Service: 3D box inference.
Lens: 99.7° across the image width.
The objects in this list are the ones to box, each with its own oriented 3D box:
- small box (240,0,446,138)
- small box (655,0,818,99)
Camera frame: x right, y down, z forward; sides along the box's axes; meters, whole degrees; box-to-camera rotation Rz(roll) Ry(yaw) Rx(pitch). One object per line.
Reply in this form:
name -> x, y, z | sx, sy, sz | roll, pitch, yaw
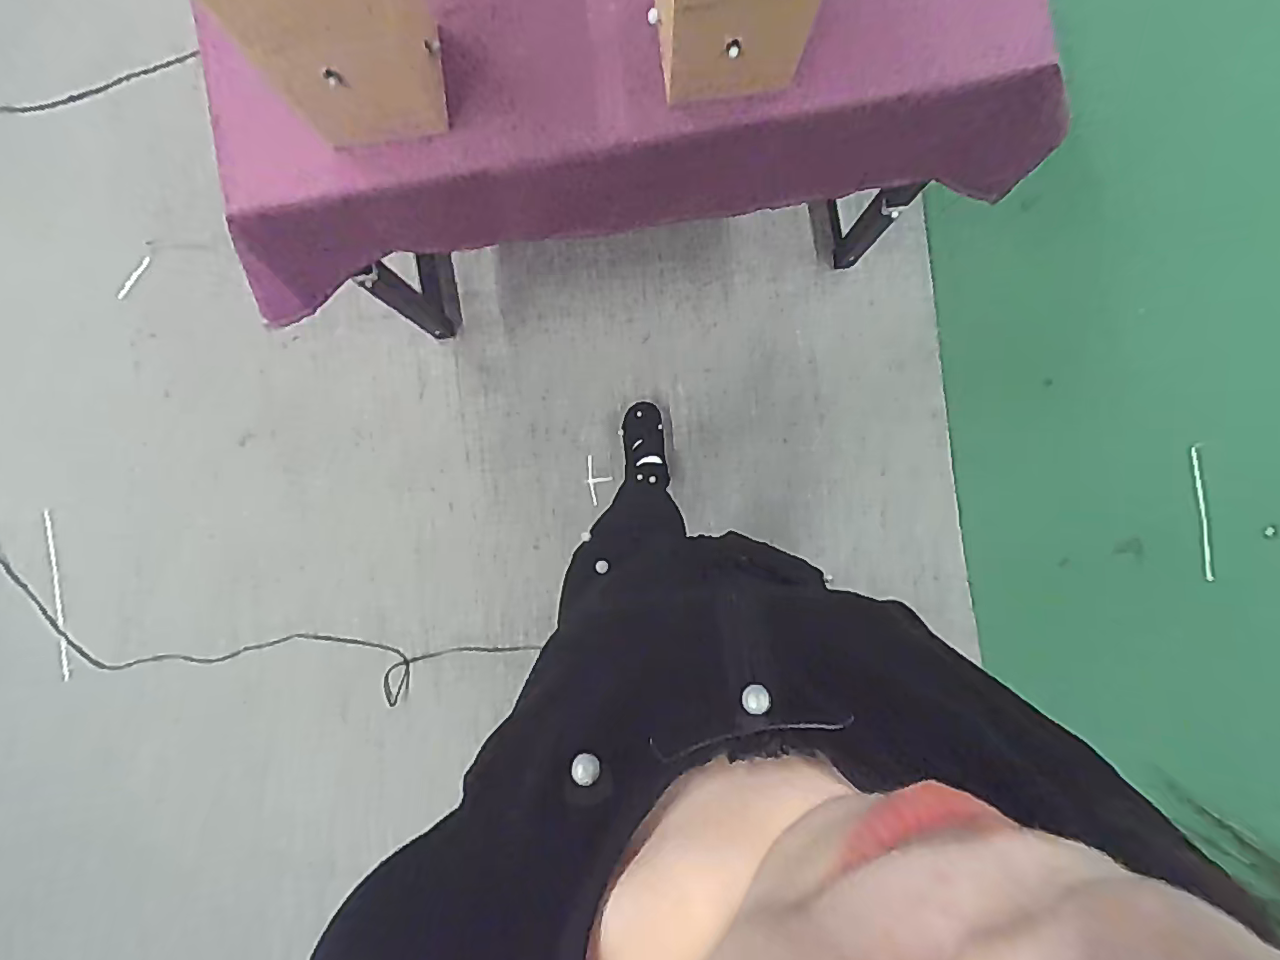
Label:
small box -> -0.370, -0.569, 0.688 | 0.179, 0.176, 0.168 | -6, 90, 0
small box -> 0.113, -0.626, 0.683 | 0.179, 0.176, 0.168 | -7, 89, 2
